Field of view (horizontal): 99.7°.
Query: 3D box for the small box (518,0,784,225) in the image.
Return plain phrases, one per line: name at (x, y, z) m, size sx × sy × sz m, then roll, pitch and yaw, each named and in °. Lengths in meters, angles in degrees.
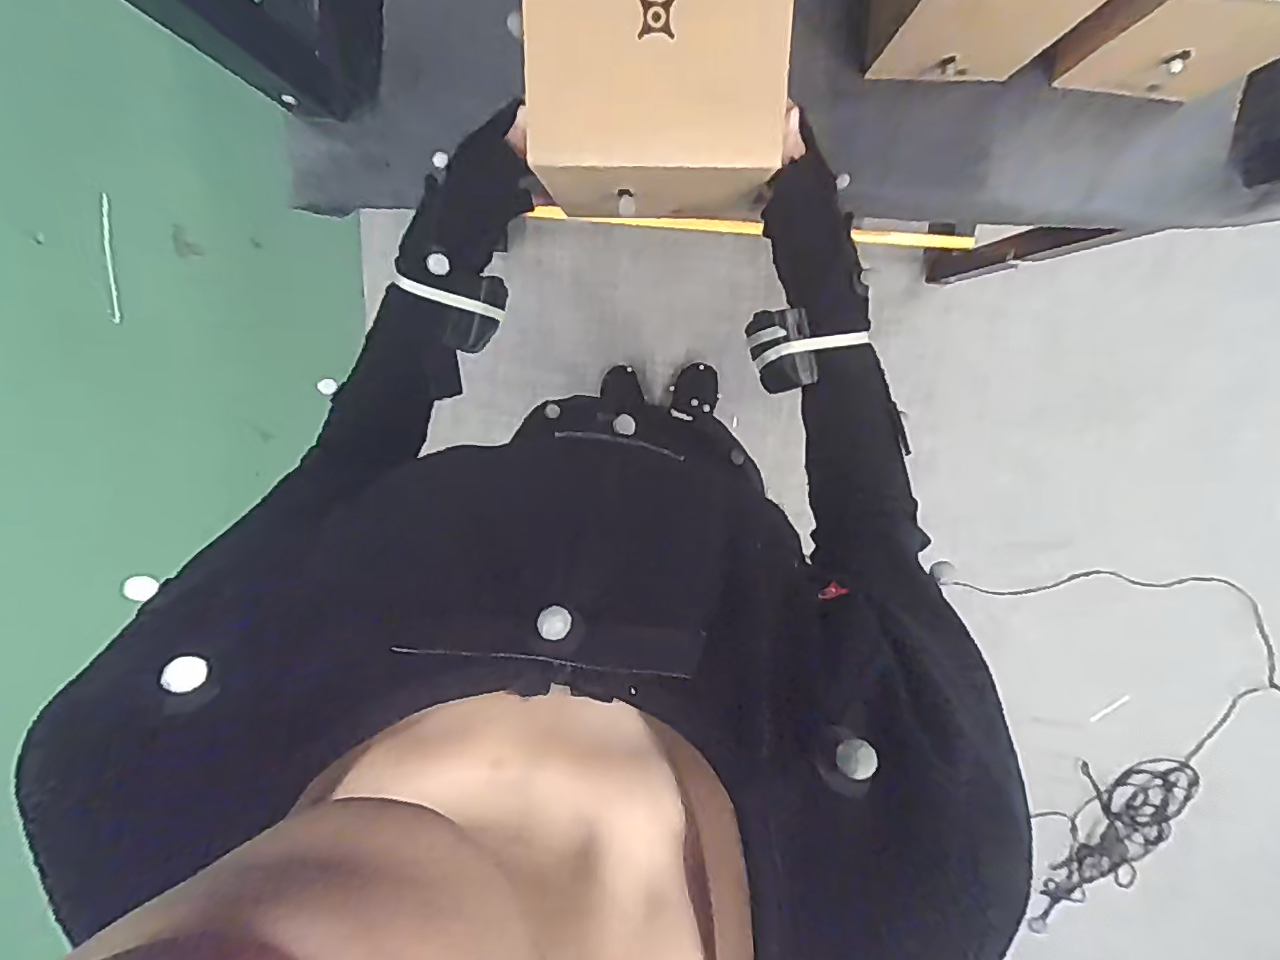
small box at (0.009, -0.302, 0.409) m, size 0.168 × 0.176 × 0.179 m, roll 1°, pitch 104°, yaw 1°
